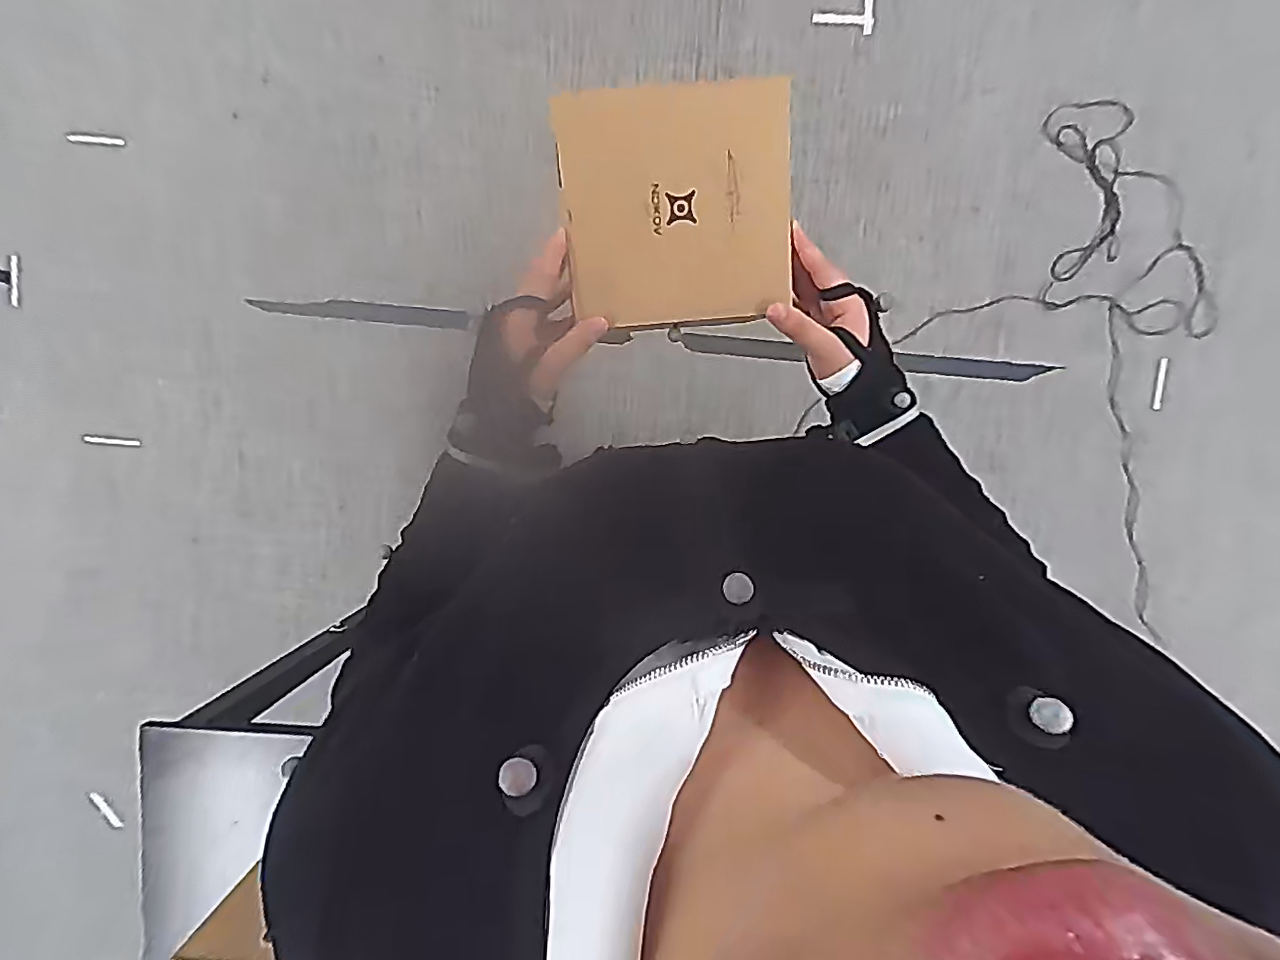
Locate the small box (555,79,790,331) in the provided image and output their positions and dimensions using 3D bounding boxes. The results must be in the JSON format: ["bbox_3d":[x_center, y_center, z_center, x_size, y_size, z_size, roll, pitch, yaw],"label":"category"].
[{"bbox_3d":[0.028,-0.230,0.496,0.179,0.176,0.168,-5,104,0],"label":"small box"}]

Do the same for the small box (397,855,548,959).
[{"bbox_3d":[-0.226,0.664,0.750,0.168,0.176,0.179,6,95,0],"label":"small box"}]
